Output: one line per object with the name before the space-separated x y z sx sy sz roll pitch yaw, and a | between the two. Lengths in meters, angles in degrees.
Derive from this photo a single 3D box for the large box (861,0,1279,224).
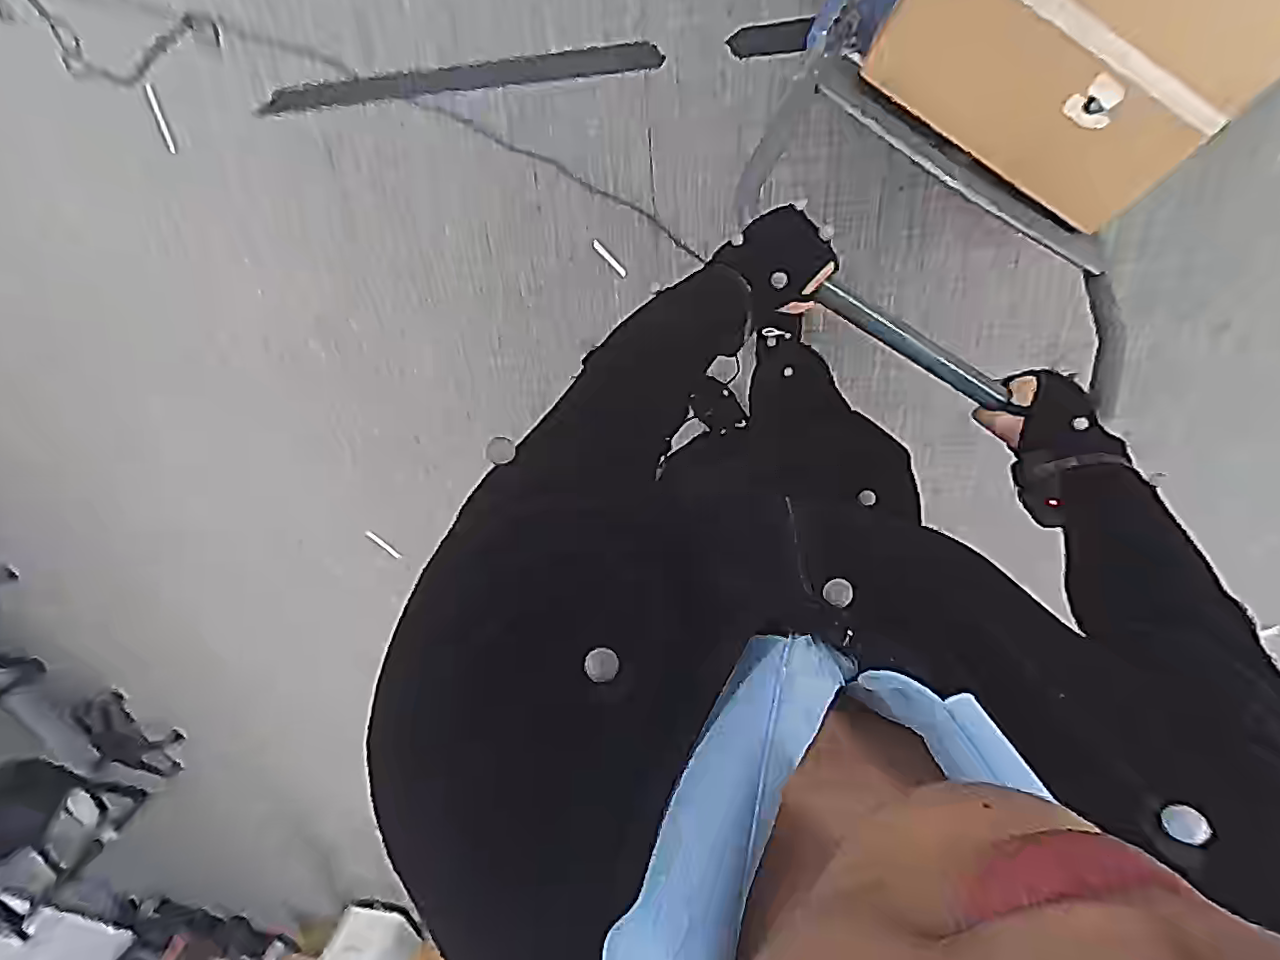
large box | 0.576 -0.646 0.738 0.408 0.320 0.320 30 142 -6
